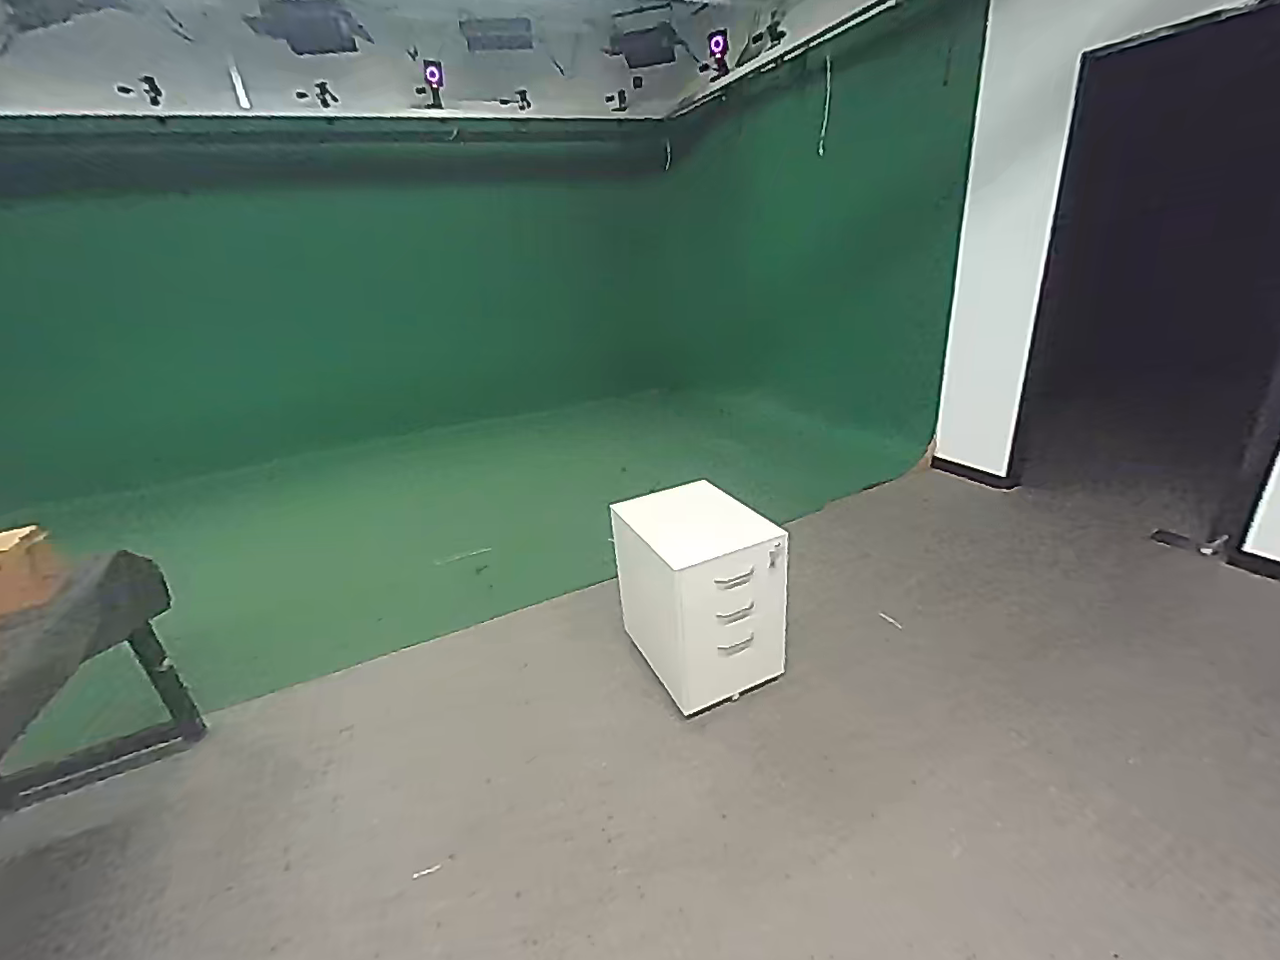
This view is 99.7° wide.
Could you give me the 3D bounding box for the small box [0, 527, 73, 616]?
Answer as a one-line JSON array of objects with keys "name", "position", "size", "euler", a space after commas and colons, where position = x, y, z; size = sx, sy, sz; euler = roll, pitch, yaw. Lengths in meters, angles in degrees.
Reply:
[{"name": "small box", "position": [-1.653, 0.250, 1.404], "size": [0.179, 0.176, 0.168], "euler": [-17, 25, -26]}]
